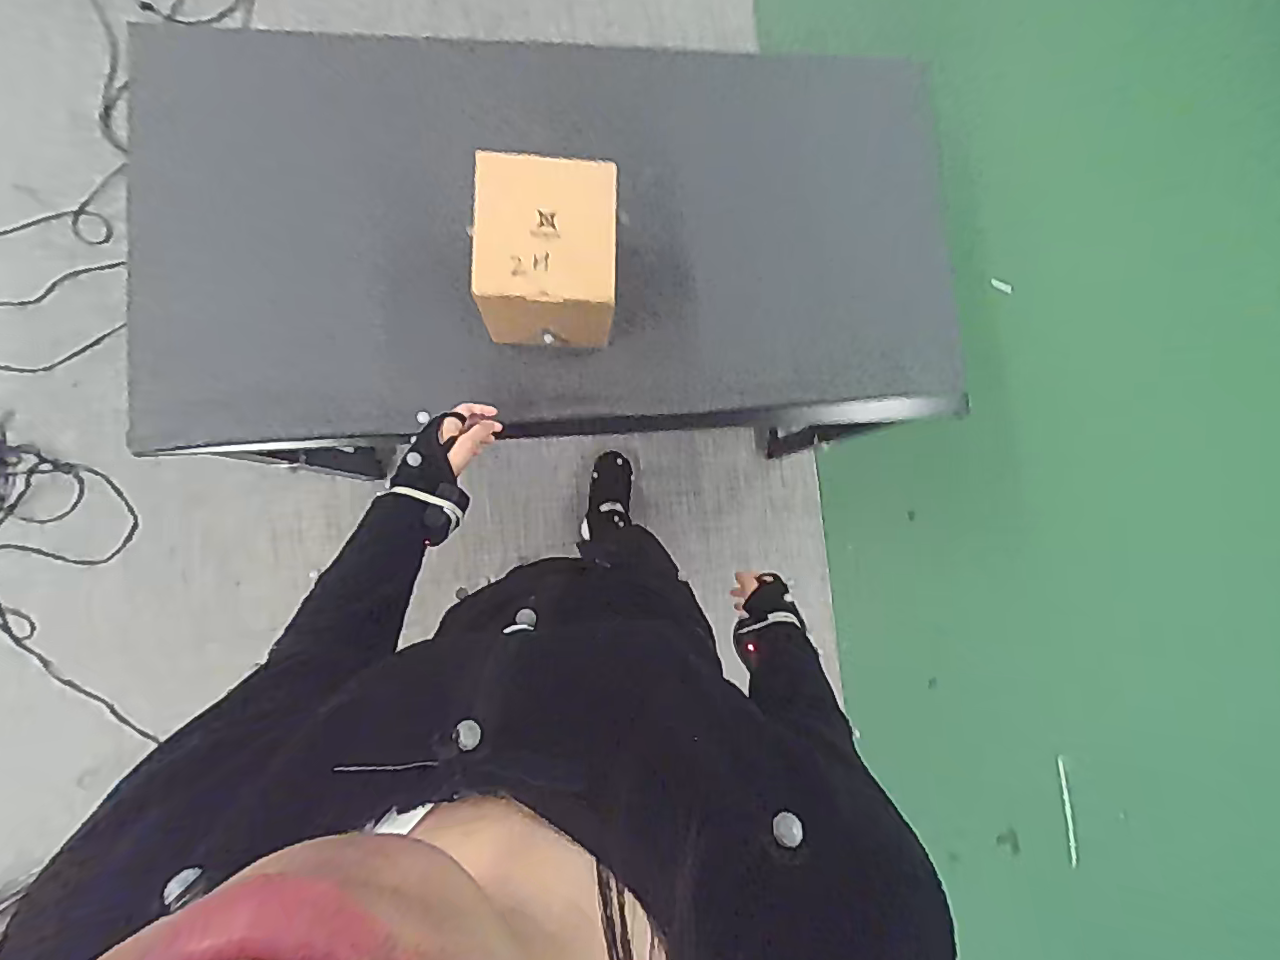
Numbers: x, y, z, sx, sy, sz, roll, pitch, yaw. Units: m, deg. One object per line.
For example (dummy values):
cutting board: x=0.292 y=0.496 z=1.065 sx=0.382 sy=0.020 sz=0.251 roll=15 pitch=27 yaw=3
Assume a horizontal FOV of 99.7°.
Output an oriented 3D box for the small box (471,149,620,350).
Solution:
small box: x=-0.116 y=-0.284 z=0.700 sx=0.168 sy=0.176 sz=0.179 roll=1 pitch=85 yaw=-7
